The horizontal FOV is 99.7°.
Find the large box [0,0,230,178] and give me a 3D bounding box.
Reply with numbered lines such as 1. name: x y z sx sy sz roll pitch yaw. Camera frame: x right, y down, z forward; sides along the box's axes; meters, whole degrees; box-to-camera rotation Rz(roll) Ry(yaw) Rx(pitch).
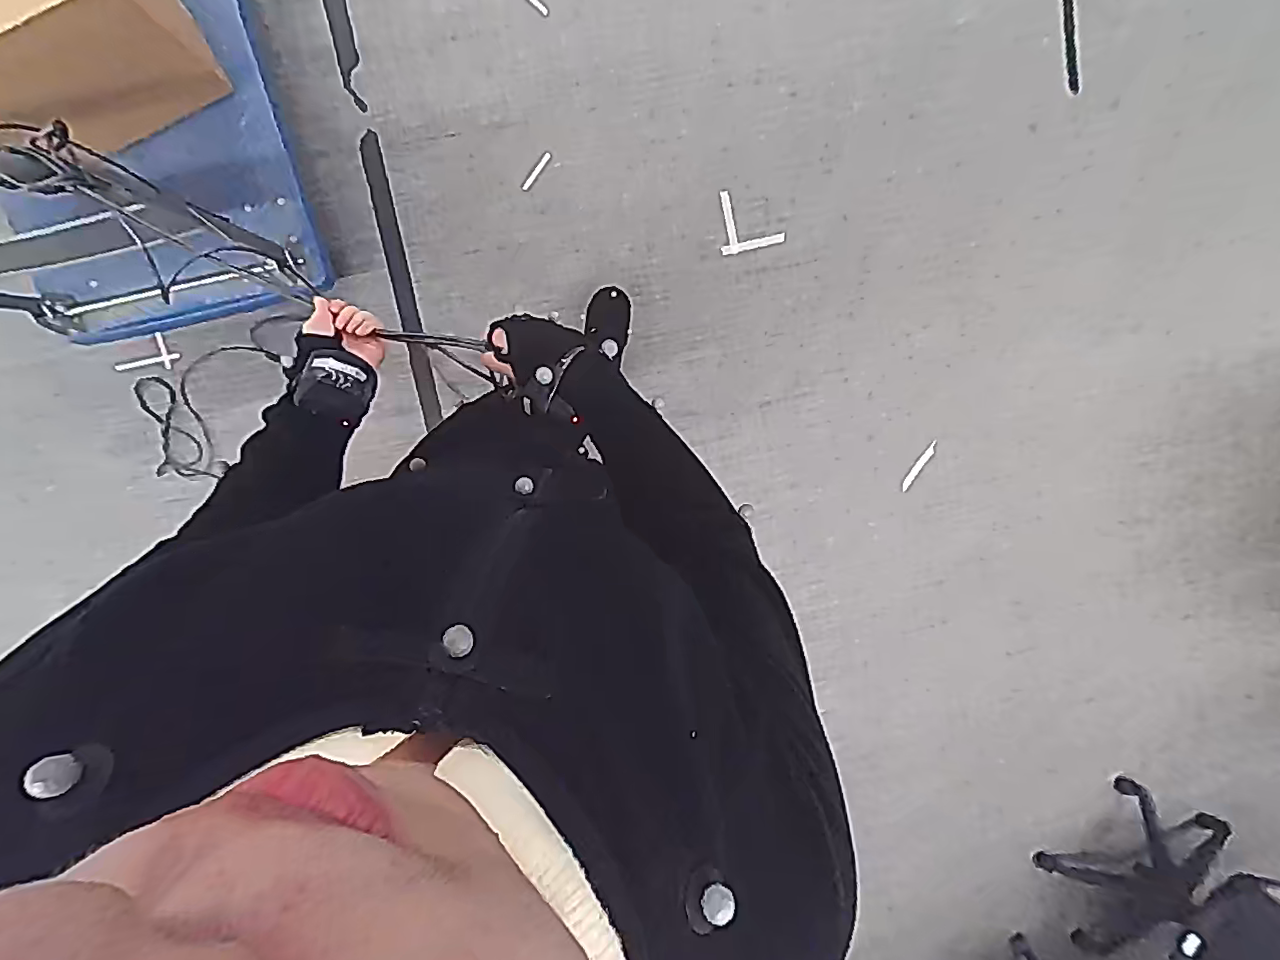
1. large box: -1.065 -0.816 0.937 0.408 0.320 0.320 -29 101 -2
